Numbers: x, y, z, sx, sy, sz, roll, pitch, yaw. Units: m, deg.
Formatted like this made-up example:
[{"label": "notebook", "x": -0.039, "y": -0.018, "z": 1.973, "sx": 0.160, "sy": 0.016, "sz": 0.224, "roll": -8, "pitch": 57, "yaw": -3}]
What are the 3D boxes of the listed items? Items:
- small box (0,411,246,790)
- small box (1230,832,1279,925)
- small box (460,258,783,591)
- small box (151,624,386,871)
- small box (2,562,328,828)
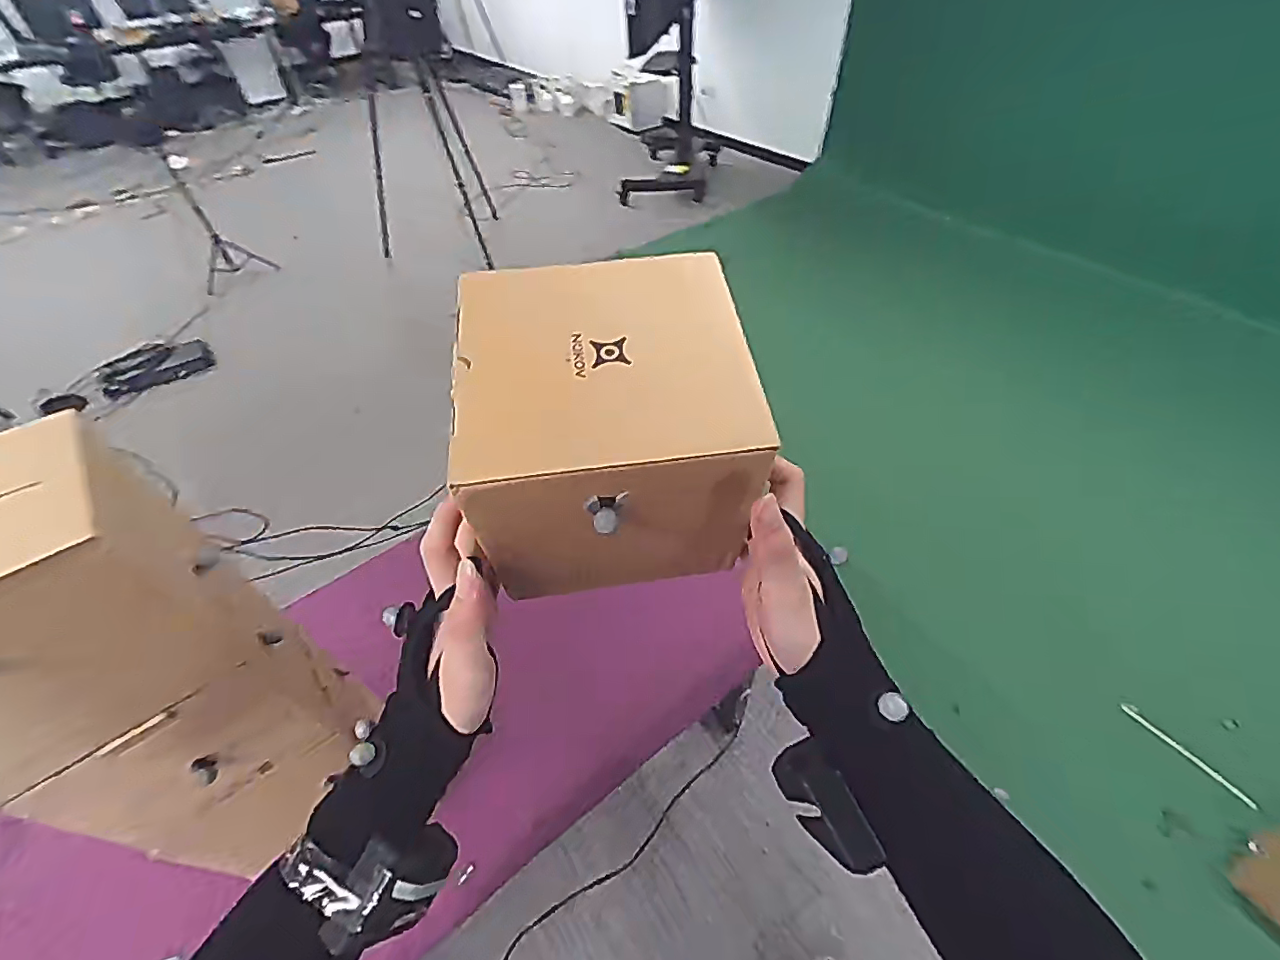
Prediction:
[{"label": "small box", "x": -0.440, "y": 0.087, "z": 0.393, "sx": 0.179, "sy": 0.176, "sz": 0.168, "roll": -32, "pitch": 53, "yaw": -25}, {"label": "small box", "x": 1.482, "y": 0.896, "z": 1.178, "sx": 0.168, "sy": 0.176, "sz": 0.179, "roll": -29, "pitch": 54, "yaw": -21}, {"label": "small box", "x": -0.016, "y": -0.032, "z": 0.394, "sx": 0.179, "sy": 0.176, "sz": 0.168, "roll": -7, "pitch": 58, "yaw": -3}, {"label": "small box", "x": -0.424, "y": 0.311, "z": 0.632, "sx": 0.179, "sy": 0.176, "sz": 0.168, "roll": -32, "pitch": 53, "yaw": -23}, {"label": "small box", "x": -0.436, "y": 0.197, "z": 0.516, "sx": 0.168, "sy": 0.176, "sz": 0.179, "roll": -33, "pitch": 54, "yaw": -25}]
